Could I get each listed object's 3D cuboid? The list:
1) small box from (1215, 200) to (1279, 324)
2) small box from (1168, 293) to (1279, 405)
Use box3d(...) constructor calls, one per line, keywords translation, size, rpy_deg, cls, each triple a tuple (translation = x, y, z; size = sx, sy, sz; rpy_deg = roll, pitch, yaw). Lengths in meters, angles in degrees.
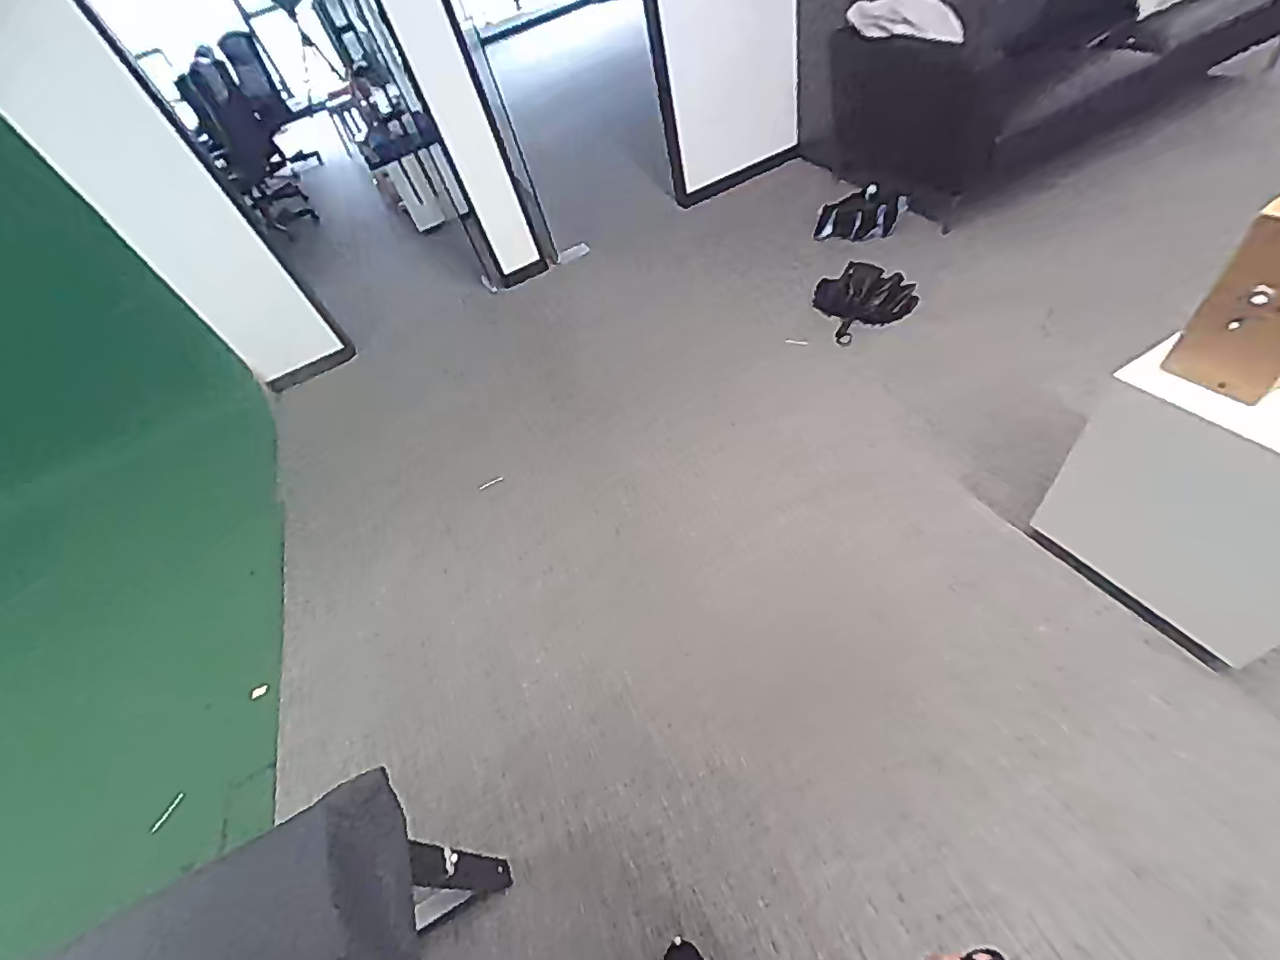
box3d(translation=(1.126, -0.376, 0.891), size=(0.179, 0.176, 0.168), rpy_deg=(-34, 49, -12), cls="small box")
box3d(translation=(1.163, -0.274, 1.013), size=(0.179, 0.176, 0.168), rpy_deg=(-31, 50, -11), cls="small box")
